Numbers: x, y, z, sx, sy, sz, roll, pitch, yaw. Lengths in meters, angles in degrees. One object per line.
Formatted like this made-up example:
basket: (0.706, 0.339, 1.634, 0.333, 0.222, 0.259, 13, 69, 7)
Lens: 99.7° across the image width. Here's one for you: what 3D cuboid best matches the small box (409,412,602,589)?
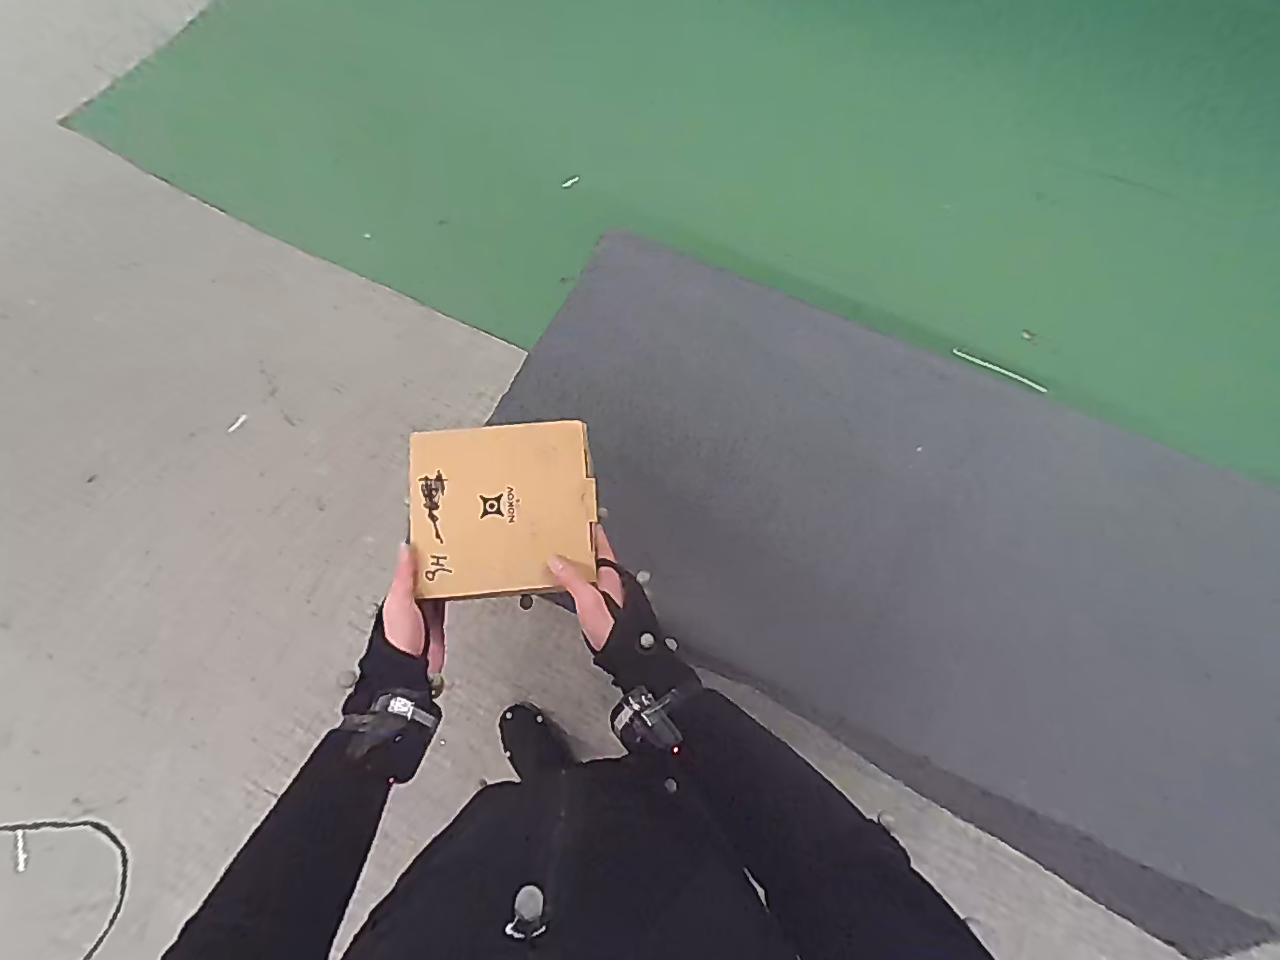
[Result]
small box: (-0.134, 0.031, 0.591, 0.179, 0.176, 0.168, -2, 76, -6)
